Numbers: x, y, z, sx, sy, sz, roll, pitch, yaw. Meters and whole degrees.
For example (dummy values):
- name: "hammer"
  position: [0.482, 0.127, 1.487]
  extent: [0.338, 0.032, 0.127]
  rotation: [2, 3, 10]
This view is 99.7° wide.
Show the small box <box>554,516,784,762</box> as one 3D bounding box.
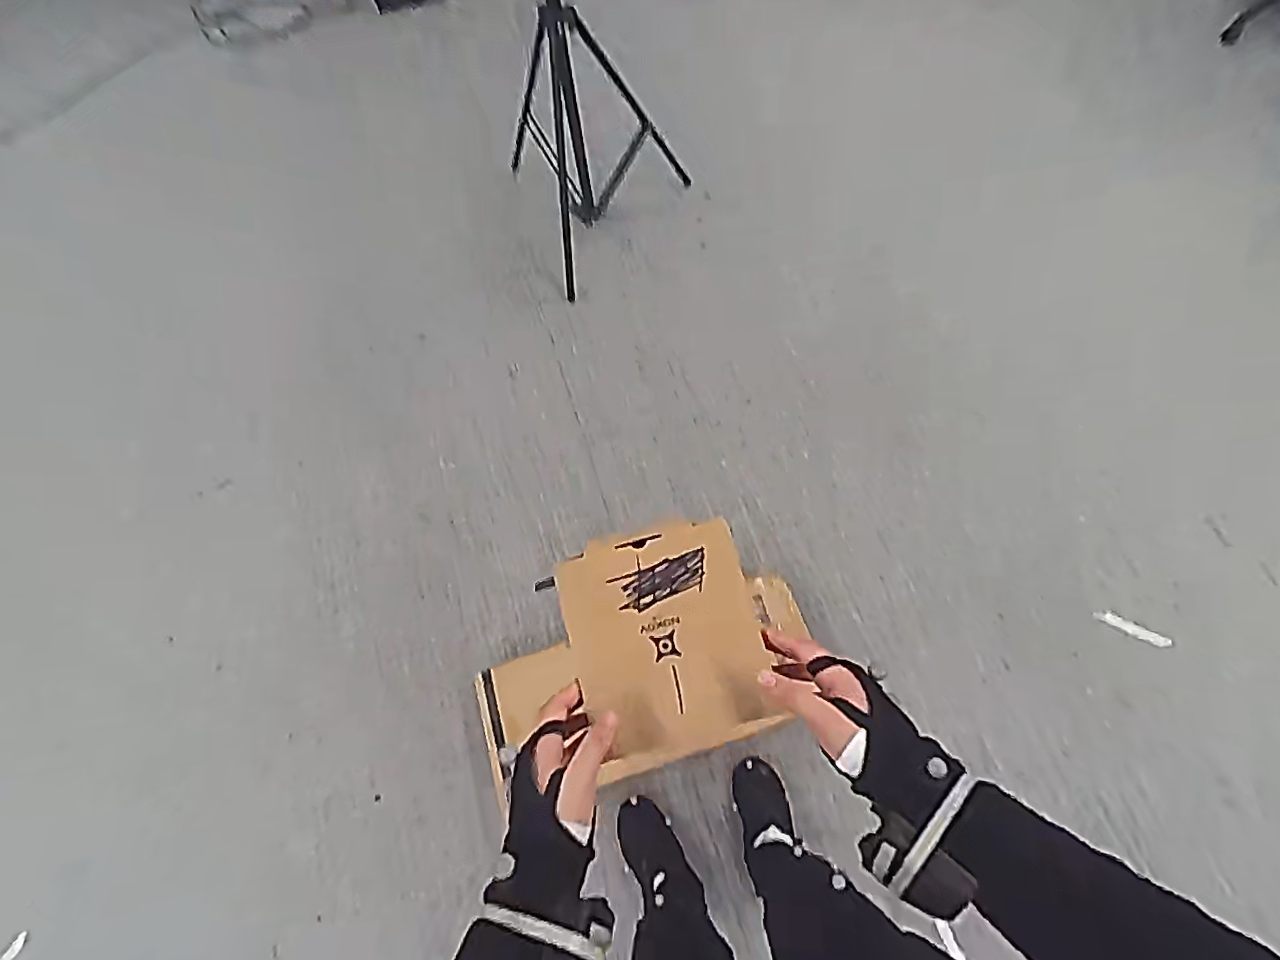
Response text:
- name: "small box"
  position: [0.025, 0.149, 0.543]
  extent: [0.168, 0.176, 0.179]
  rotation: [-16, 79, 1]
